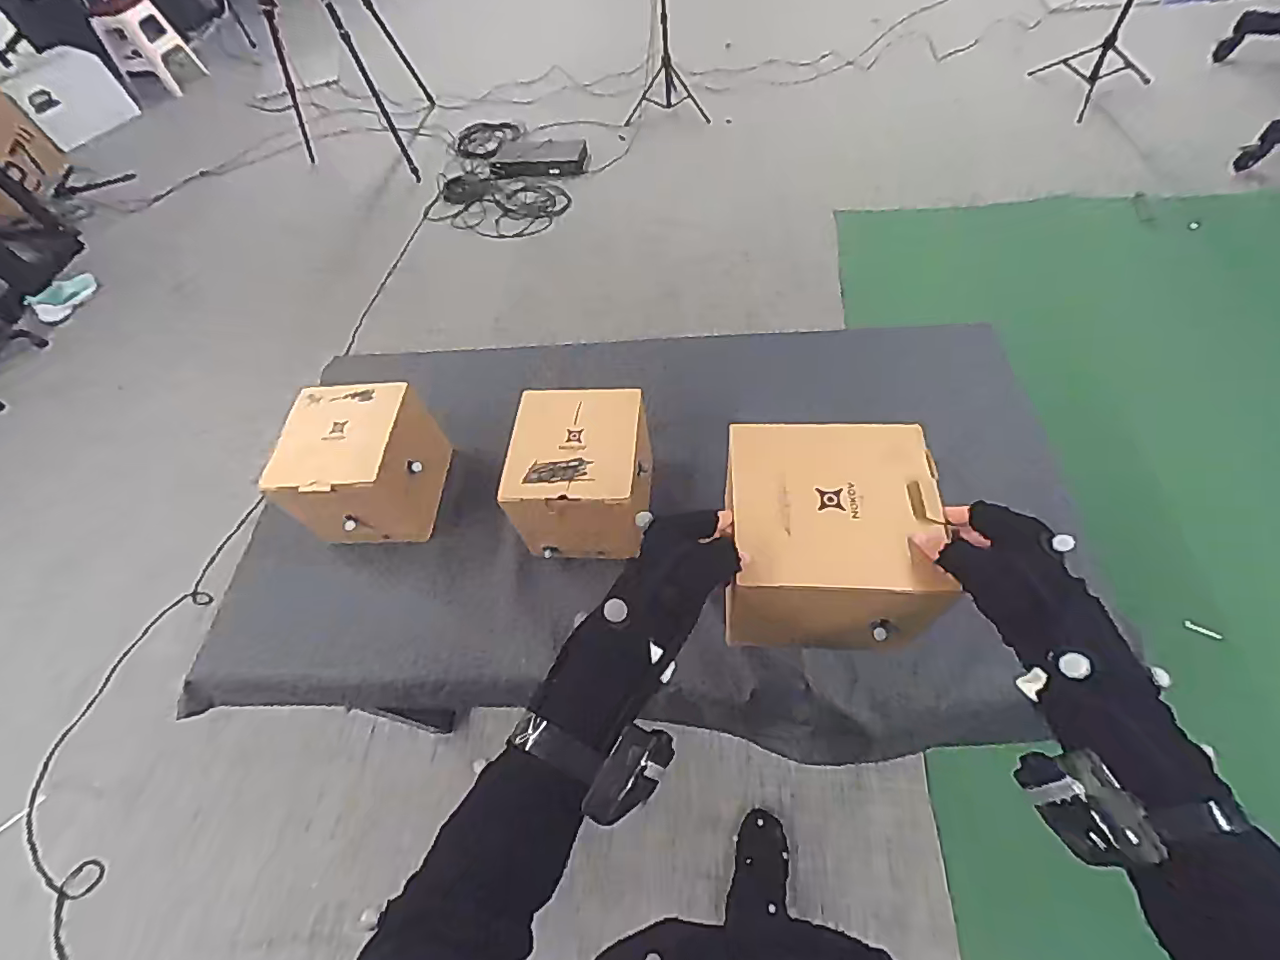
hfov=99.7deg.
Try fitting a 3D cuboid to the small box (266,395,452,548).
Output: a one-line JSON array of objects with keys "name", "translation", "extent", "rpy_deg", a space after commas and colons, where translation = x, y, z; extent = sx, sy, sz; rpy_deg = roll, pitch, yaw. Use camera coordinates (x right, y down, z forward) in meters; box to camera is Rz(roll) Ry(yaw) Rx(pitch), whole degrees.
[{"name": "small box", "translation": [-0.404, -0.005, 0.816], "extent": [0.168, 0.176, 0.179], "rpy_deg": [-3, 58, 6]}]

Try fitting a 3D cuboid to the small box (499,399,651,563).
[{"name": "small box", "translation": [-0.077, 0.007, 0.762], "extent": [0.168, 0.176, 0.179], "rpy_deg": [0, 56, 8]}]

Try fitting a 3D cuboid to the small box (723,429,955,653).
[{"name": "small box", "translation": [0.174, 0.066, 0.539], "extent": [0.179, 0.176, 0.168], "rpy_deg": [-2, 56, 8]}]
